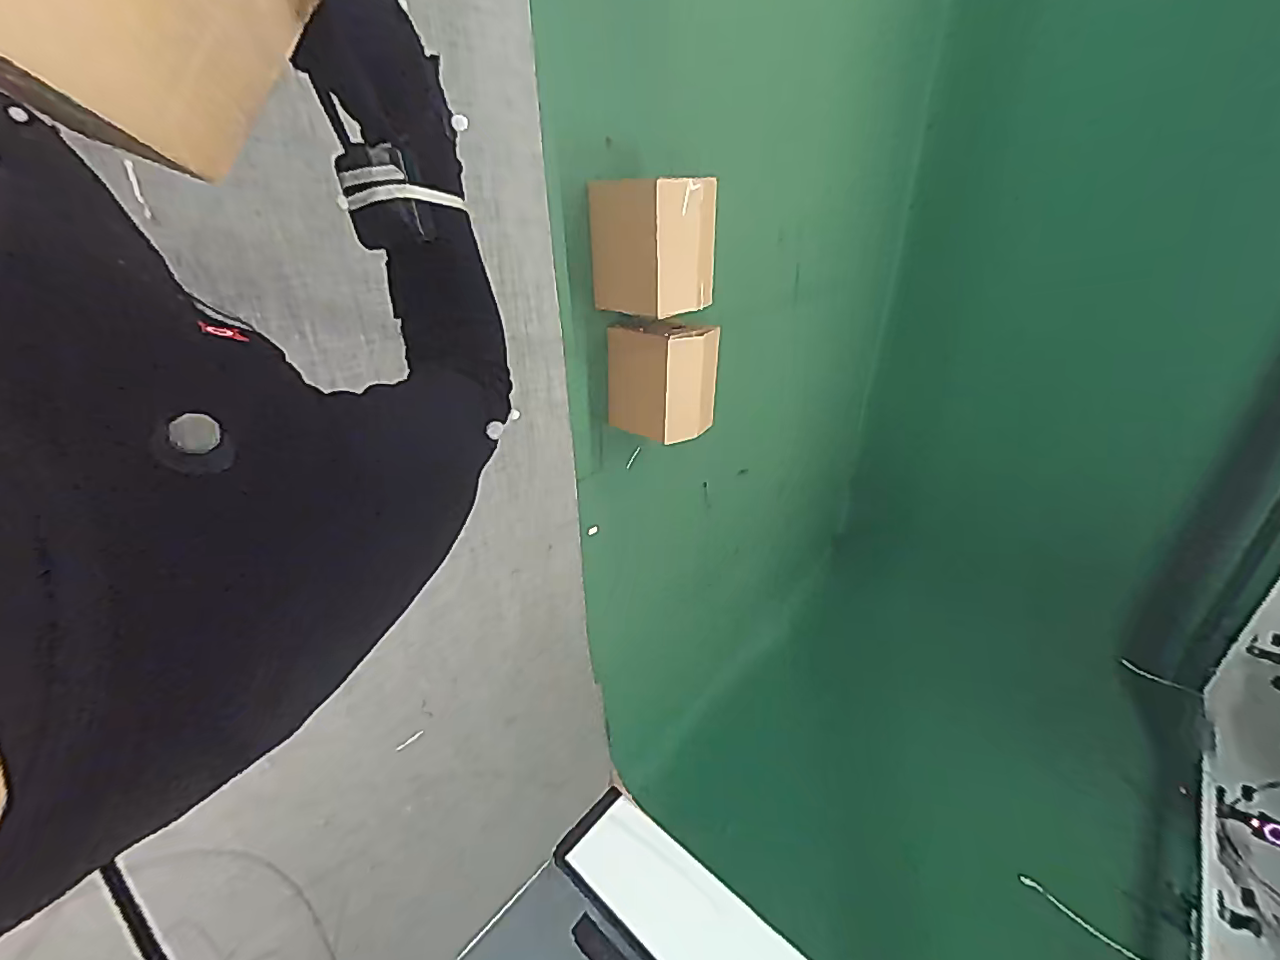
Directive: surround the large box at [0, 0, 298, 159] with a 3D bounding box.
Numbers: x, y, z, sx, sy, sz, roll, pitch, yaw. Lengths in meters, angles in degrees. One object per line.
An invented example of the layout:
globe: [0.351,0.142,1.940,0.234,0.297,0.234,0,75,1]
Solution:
large box: [-0.406,-0.437,0.239,0.320,0.320,0.408,-62,152,2]
